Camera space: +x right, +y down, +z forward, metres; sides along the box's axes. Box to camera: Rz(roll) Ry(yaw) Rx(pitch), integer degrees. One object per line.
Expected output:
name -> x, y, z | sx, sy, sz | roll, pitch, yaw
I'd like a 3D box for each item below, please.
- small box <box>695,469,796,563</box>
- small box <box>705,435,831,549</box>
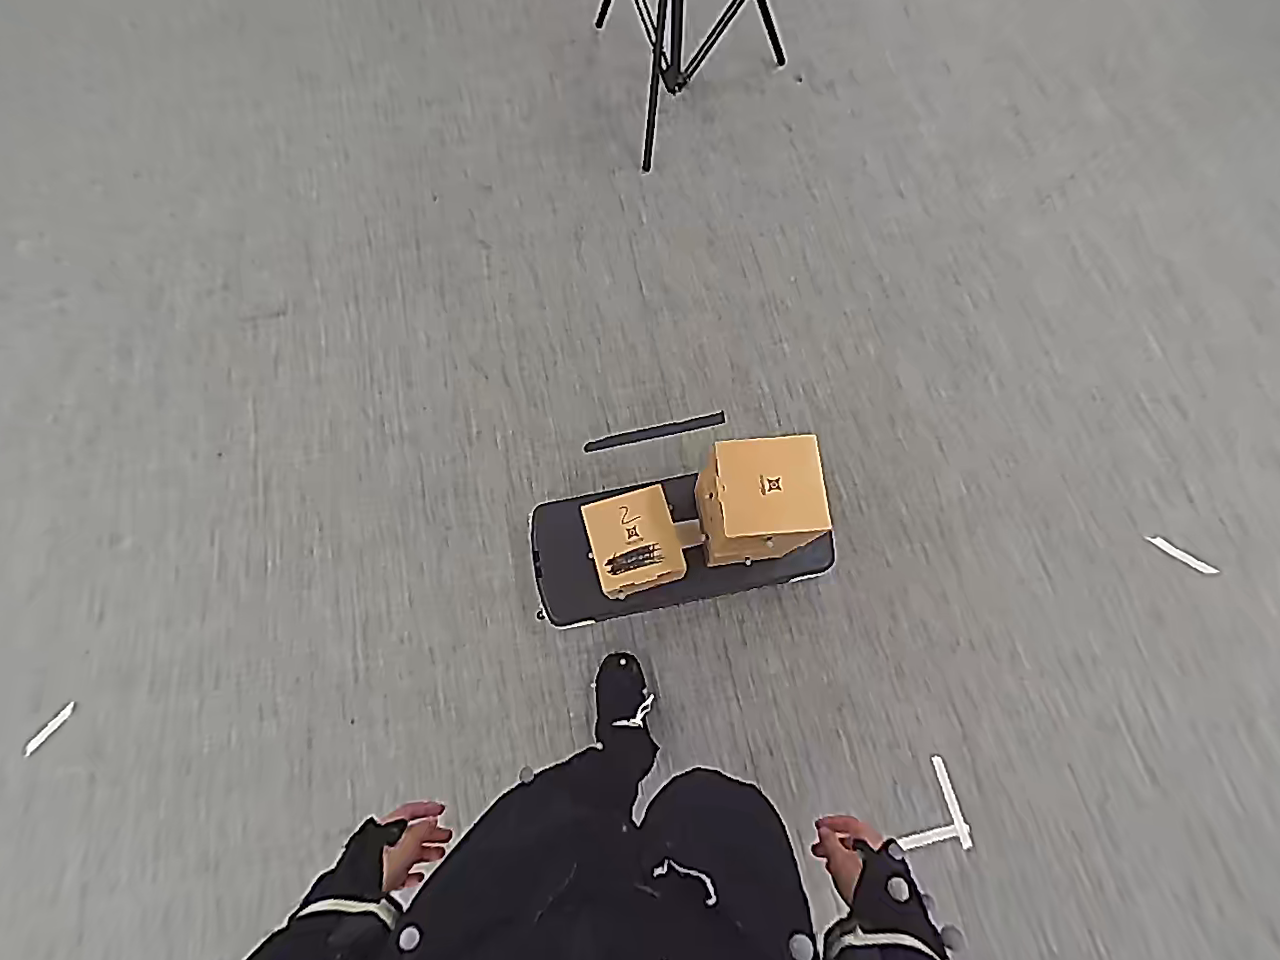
small box -> 0.211, 0.074, 1.120 | 0.168, 0.176, 0.179 | -8, 74, 0
small box -> 0.217, 0.028, 0.963 | 0.179, 0.176, 0.168 | -5, 75, 1
